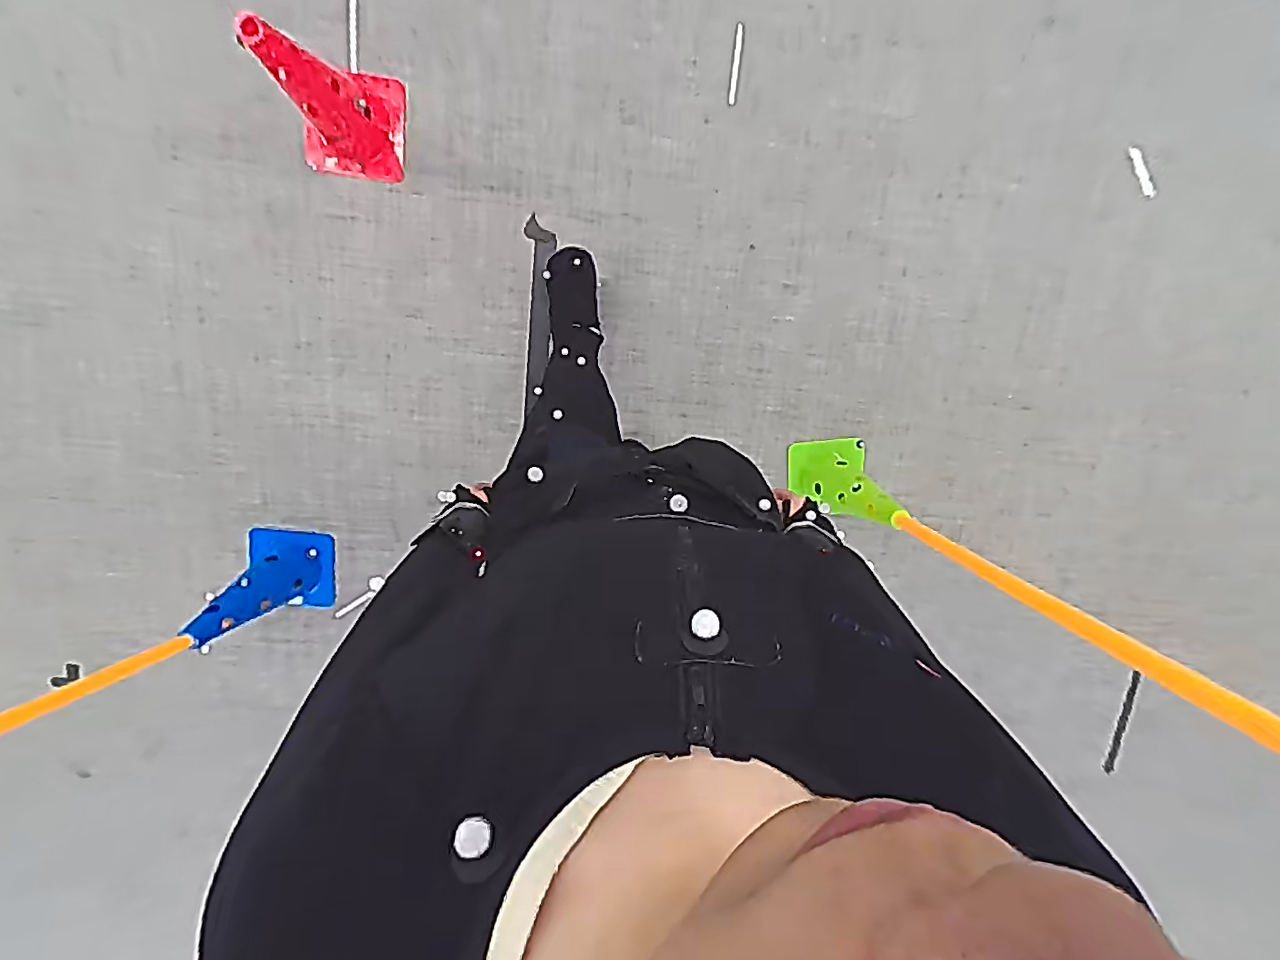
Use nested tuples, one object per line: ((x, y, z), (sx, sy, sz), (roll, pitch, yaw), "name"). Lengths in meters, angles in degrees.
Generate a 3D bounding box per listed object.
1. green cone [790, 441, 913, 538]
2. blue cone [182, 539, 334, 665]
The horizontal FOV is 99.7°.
((0.495, 0.046, 1.224), (0.200, 0.368, 0.202), (-6, 105, -3), "green cone")
((-0.849, 0.277, 1.184), (0.193, 0.380, 0.192), (7, 103, -6), "blue cone")
